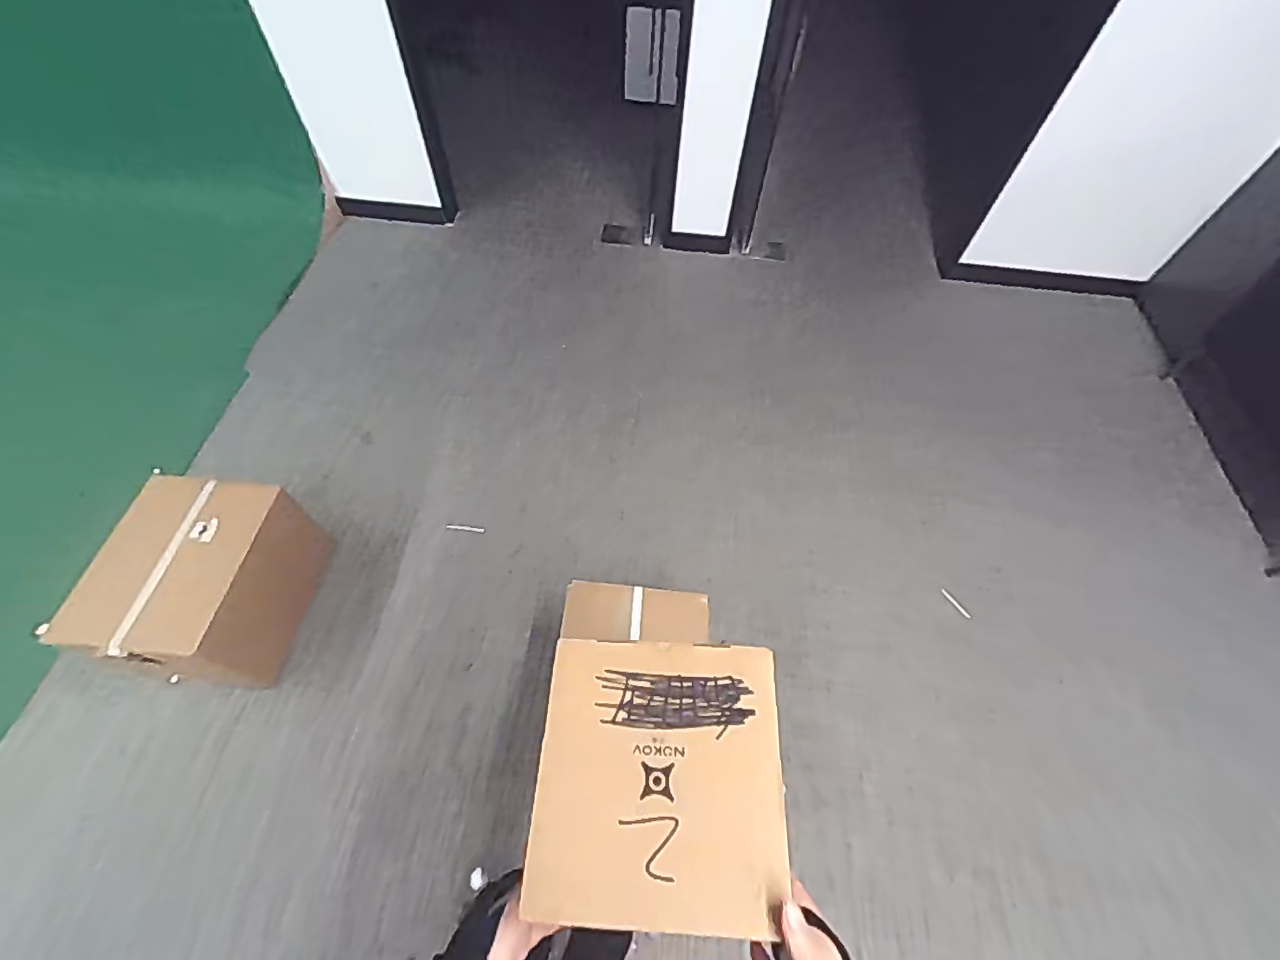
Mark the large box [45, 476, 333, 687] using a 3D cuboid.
[{"bbox_3d":[-1.020,0.248,1.296,0.320,0.320,0.408,6,57,0],"label":"large box"}]

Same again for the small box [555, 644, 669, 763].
[{"bbox_3d":[-0.044,0.405,0.969,0.179,0.176,0.168,4,58,2],"label":"small box"}]
